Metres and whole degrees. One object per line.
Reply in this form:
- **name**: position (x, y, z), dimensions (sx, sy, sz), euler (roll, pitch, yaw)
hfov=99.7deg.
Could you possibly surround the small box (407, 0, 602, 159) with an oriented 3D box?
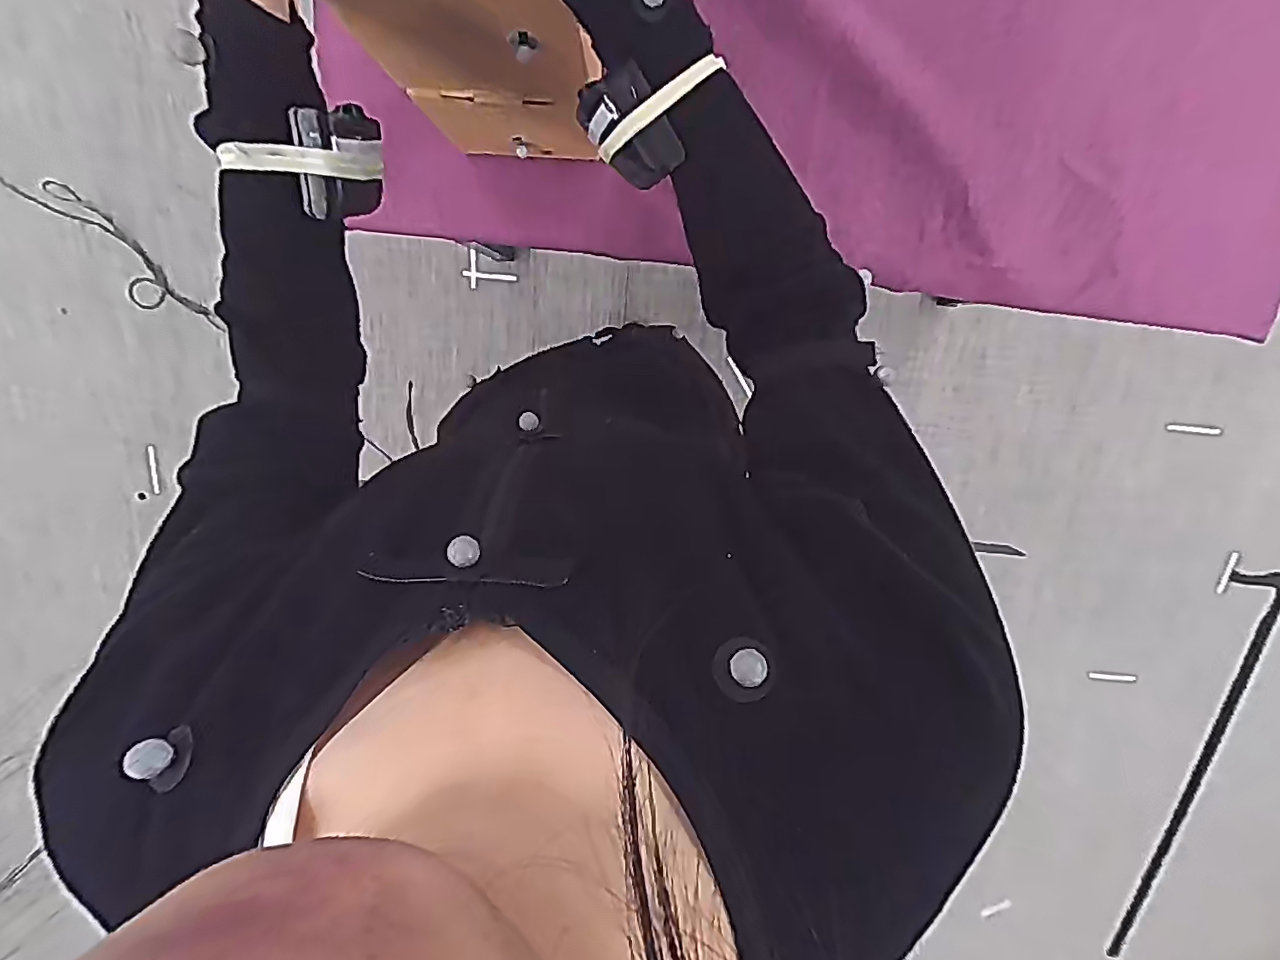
- **small box**: position (-0.127, -0.452, 0.547), dimensions (0.168, 0.176, 0.179), euler (3, 106, -1)

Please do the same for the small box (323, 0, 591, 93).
- **small box**: position (-0.126, -0.410, 0.390), dimensions (0.179, 0.176, 0.168), euler (1, 103, 0)
